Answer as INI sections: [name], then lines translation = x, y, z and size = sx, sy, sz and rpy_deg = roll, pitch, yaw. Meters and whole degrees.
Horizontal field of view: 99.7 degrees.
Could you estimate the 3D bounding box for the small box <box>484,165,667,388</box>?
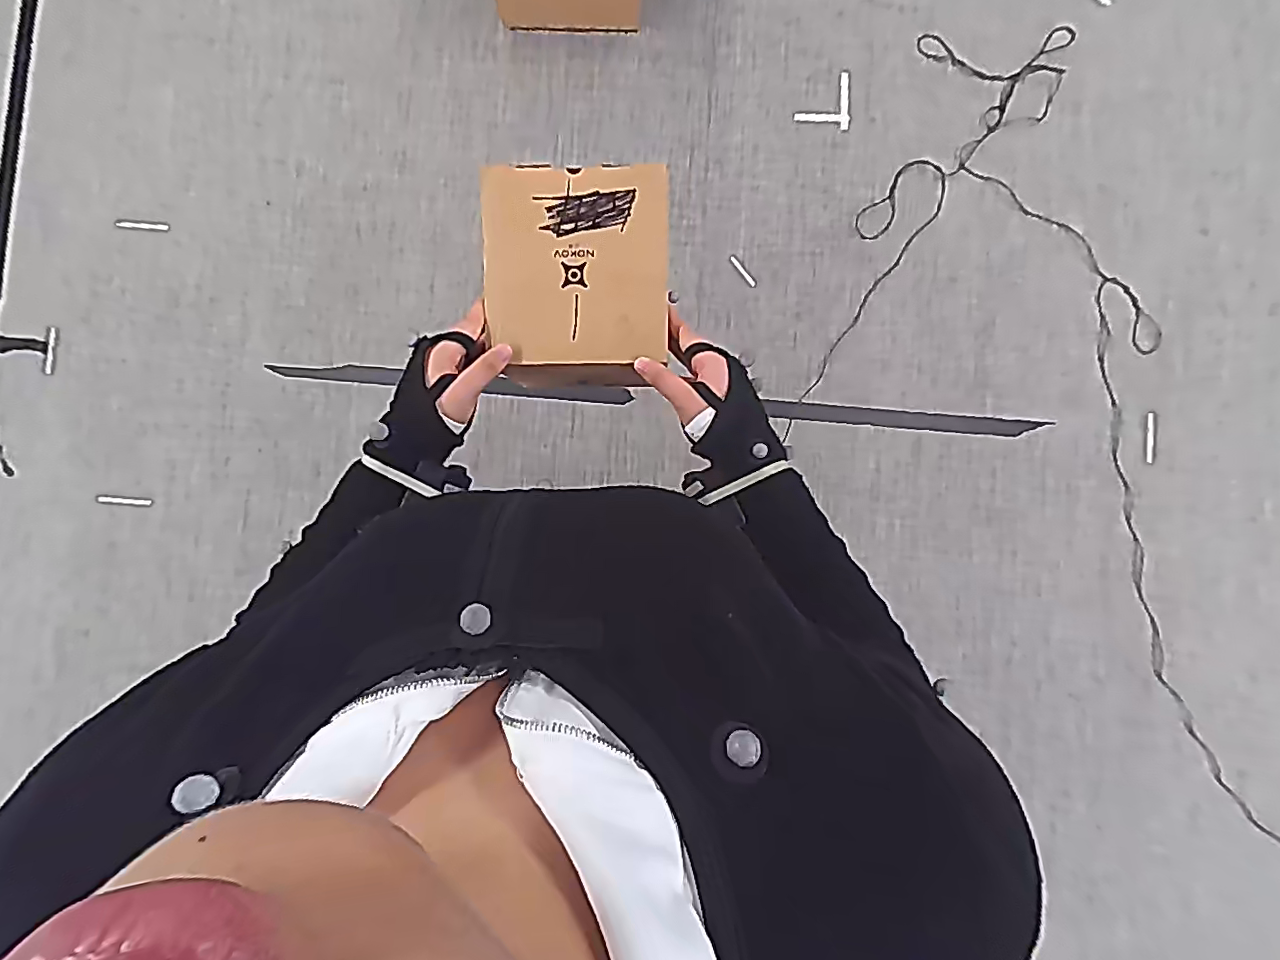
[small box]
translation = -0.059, -0.196, 0.564
size = 0.168, 0.176, 0.179
rpy_deg = 0, 93, 0
